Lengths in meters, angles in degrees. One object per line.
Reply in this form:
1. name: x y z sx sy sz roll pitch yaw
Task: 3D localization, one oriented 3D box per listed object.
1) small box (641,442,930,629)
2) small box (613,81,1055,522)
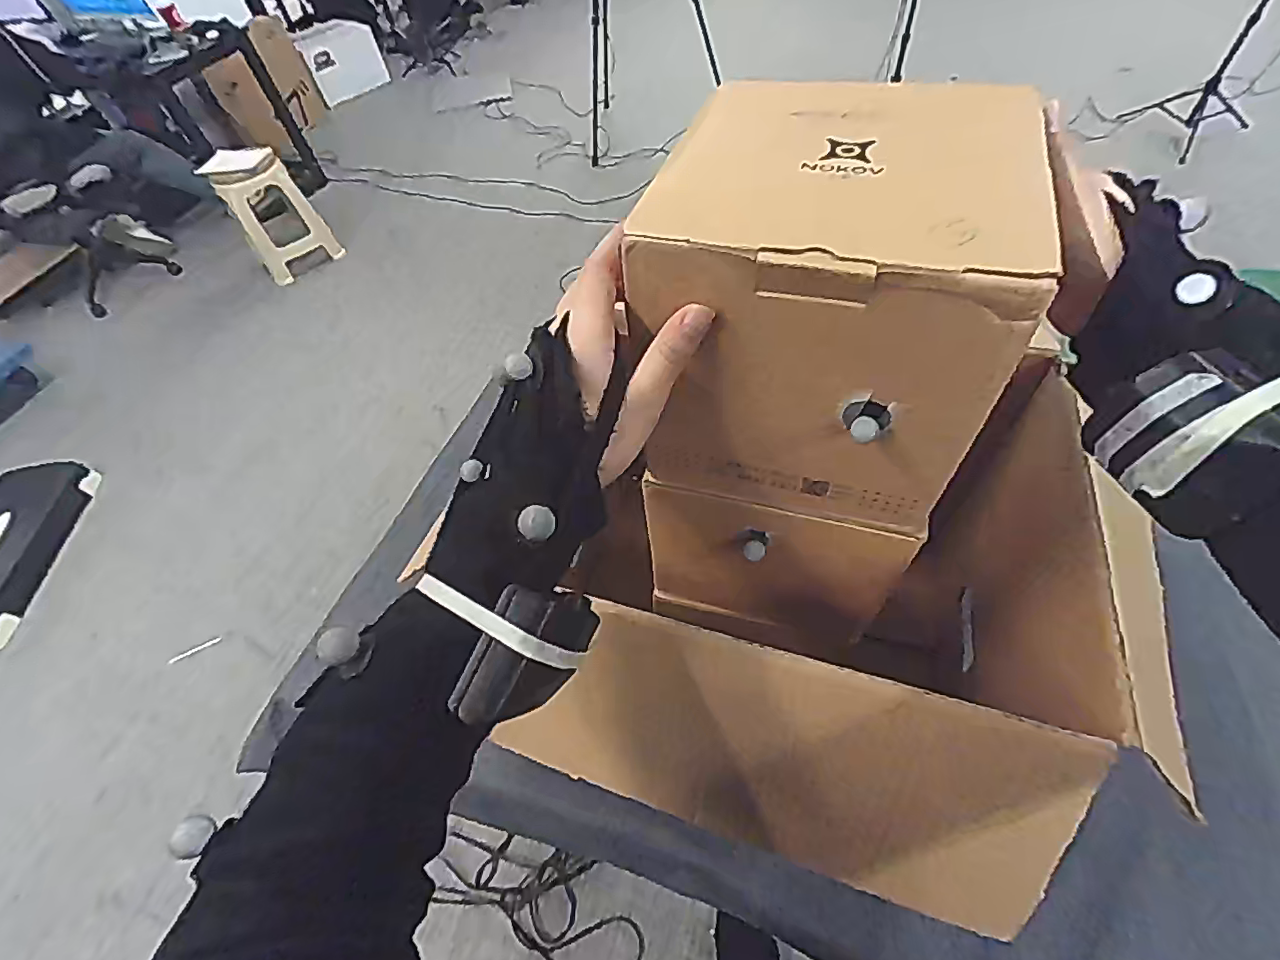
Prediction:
1. small box: 0.114 0.002 0.436 0.179 0.176 0.168 12 56 15
2. small box: 0.100 -0.100 0.311 0.168 0.176 0.179 13 55 16
